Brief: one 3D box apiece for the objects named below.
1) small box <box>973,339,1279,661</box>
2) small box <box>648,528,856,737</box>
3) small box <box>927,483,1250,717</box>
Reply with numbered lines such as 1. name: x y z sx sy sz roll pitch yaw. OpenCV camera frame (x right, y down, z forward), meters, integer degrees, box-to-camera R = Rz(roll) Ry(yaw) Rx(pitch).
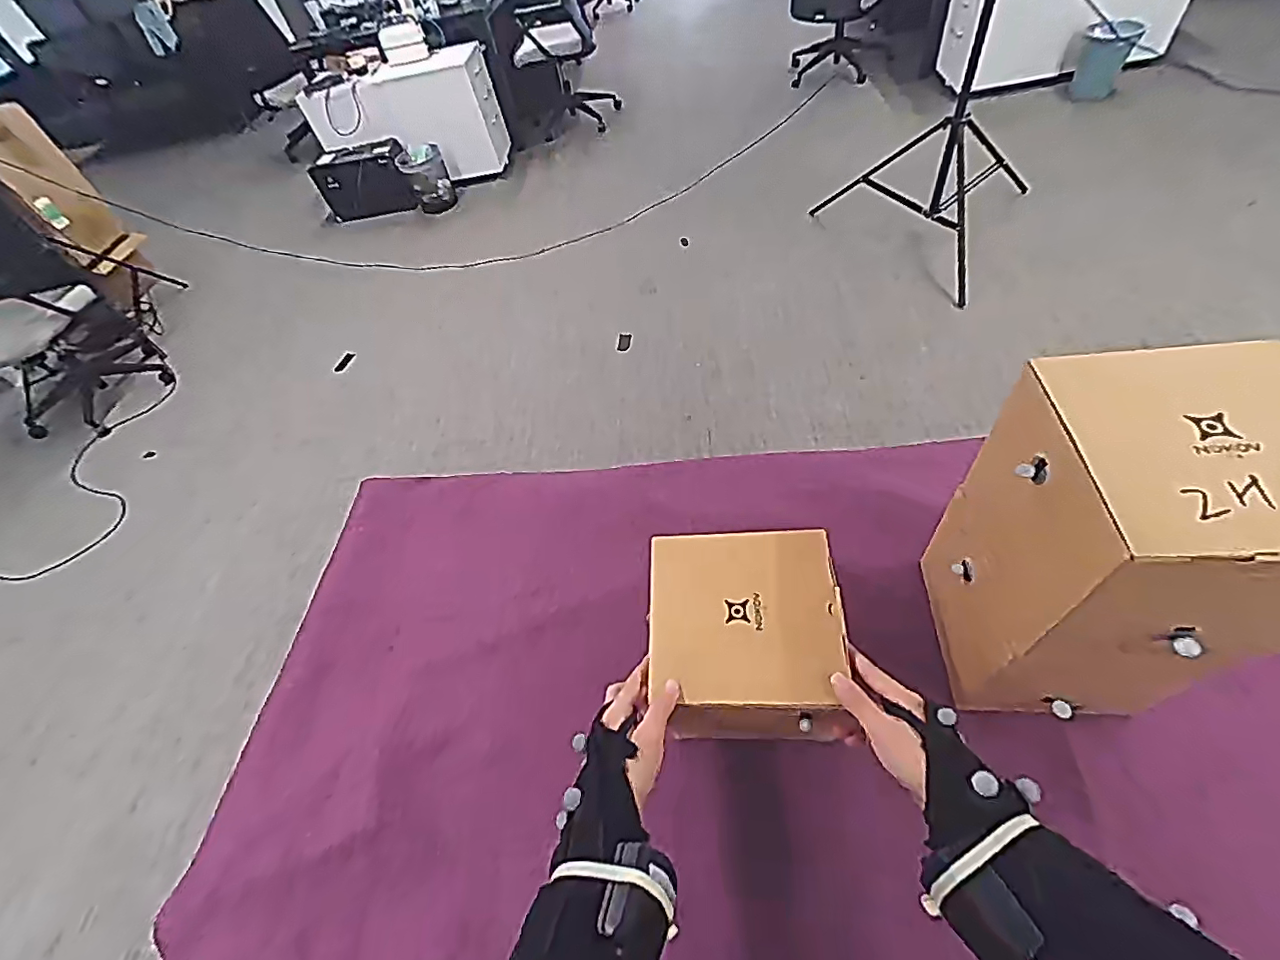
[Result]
1. small box: 0.383 0.020 0.409 0.168 0.176 0.179 -3 53 11
2. small box: 0.109 0.164 0.563 0.179 0.176 0.168 -3 55 8
3. small box: 0.407 0.119 0.539 0.168 0.176 0.179 -2 53 11
